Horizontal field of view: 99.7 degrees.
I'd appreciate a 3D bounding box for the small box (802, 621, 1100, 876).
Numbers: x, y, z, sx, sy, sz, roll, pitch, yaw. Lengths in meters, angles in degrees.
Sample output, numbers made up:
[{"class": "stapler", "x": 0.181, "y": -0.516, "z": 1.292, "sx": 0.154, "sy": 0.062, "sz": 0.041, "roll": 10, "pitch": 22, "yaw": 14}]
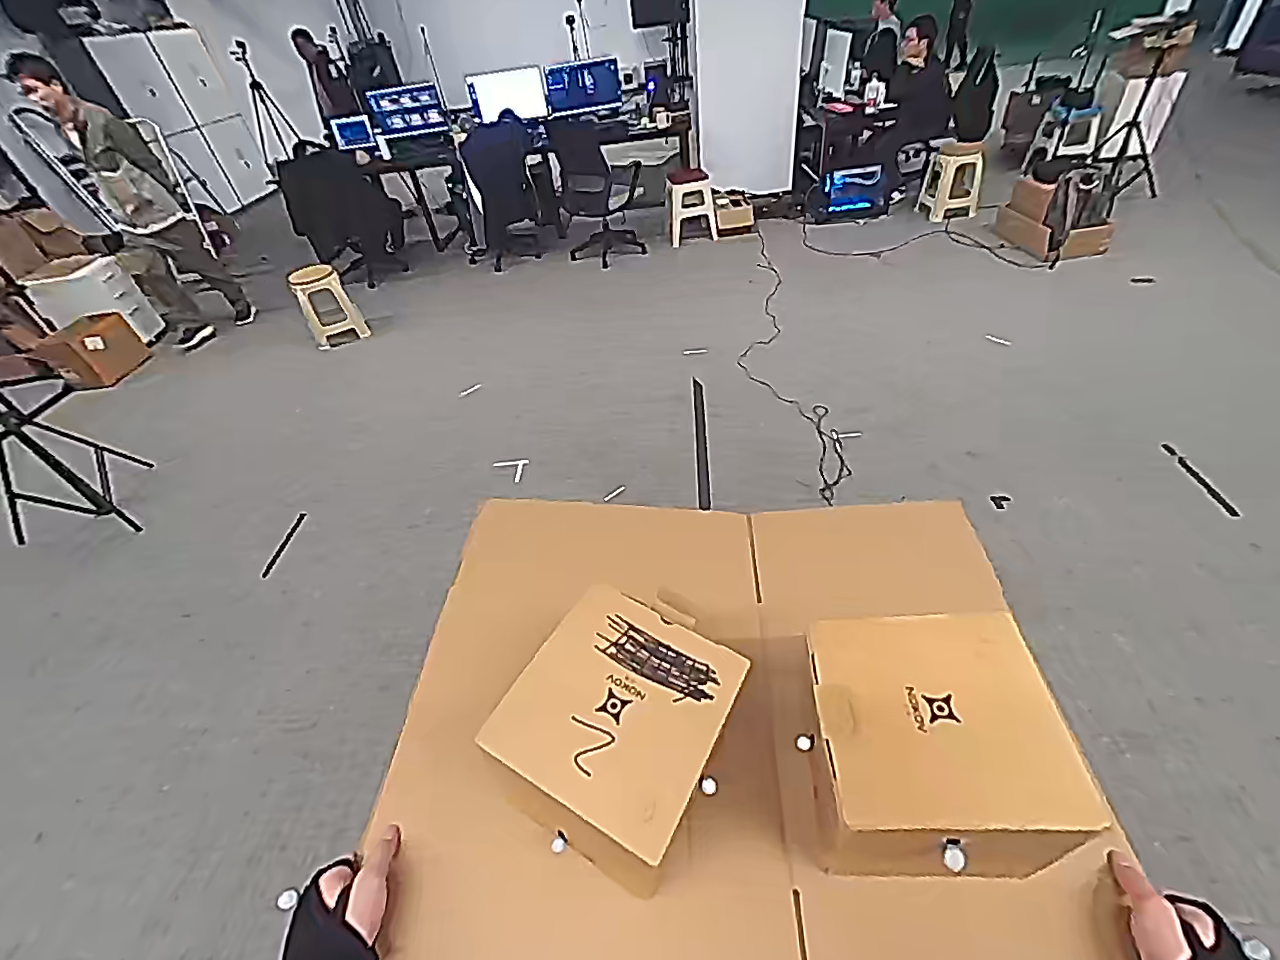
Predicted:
[{"class": "small box", "x": 0.252, "y": 0.247, "z": 0.496, "sx": 0.179, "sy": 0.176, "sz": 0.168, "roll": -6, "pitch": 44, "yaw": 9}]
